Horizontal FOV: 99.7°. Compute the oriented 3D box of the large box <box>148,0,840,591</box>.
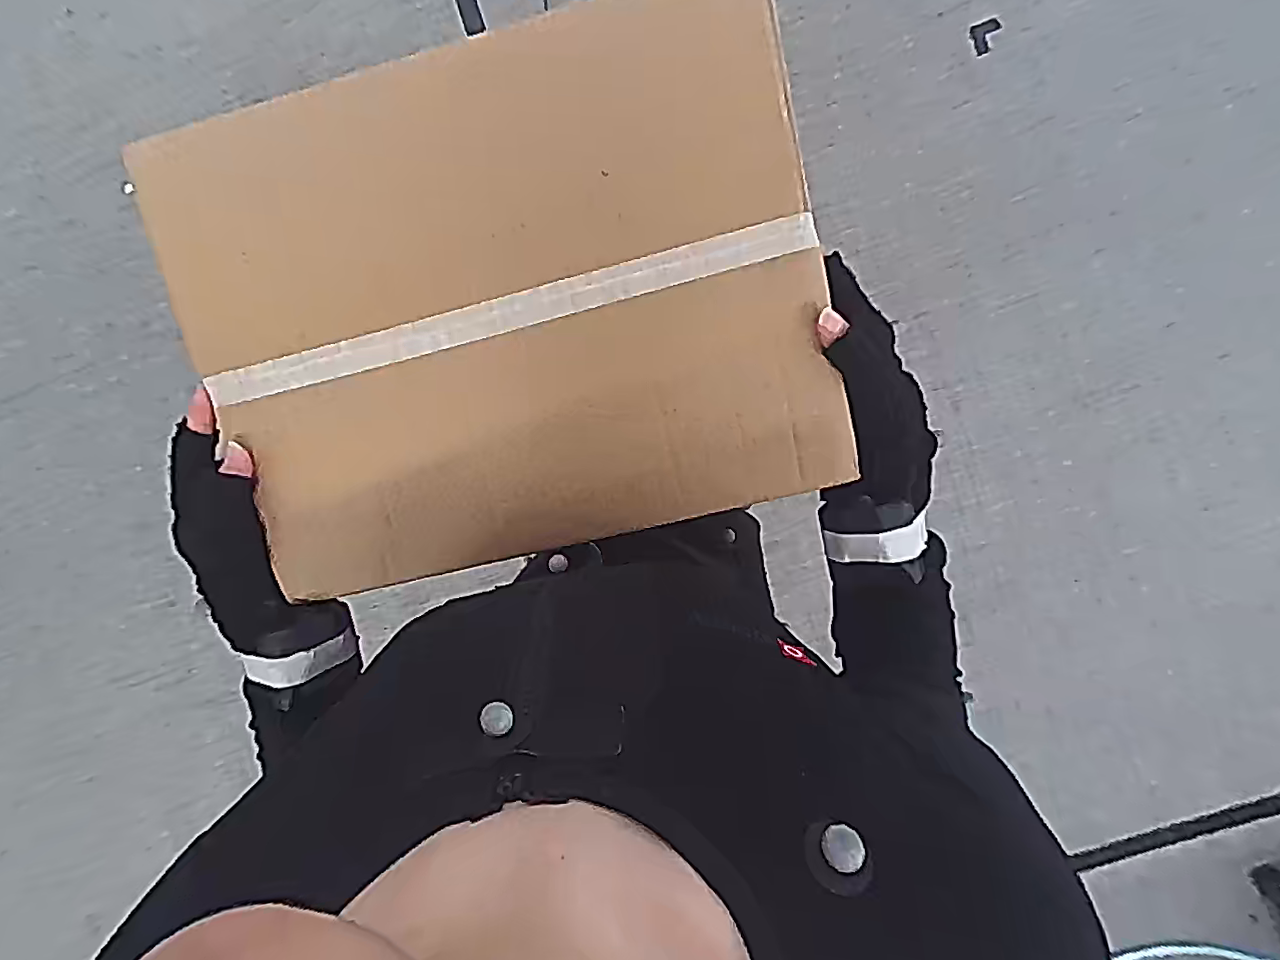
[{"bbox_3d":[-0.084,-0.136,0.502,0.408,0.320,0.320,-13,98,5],"label":"large box"}]
